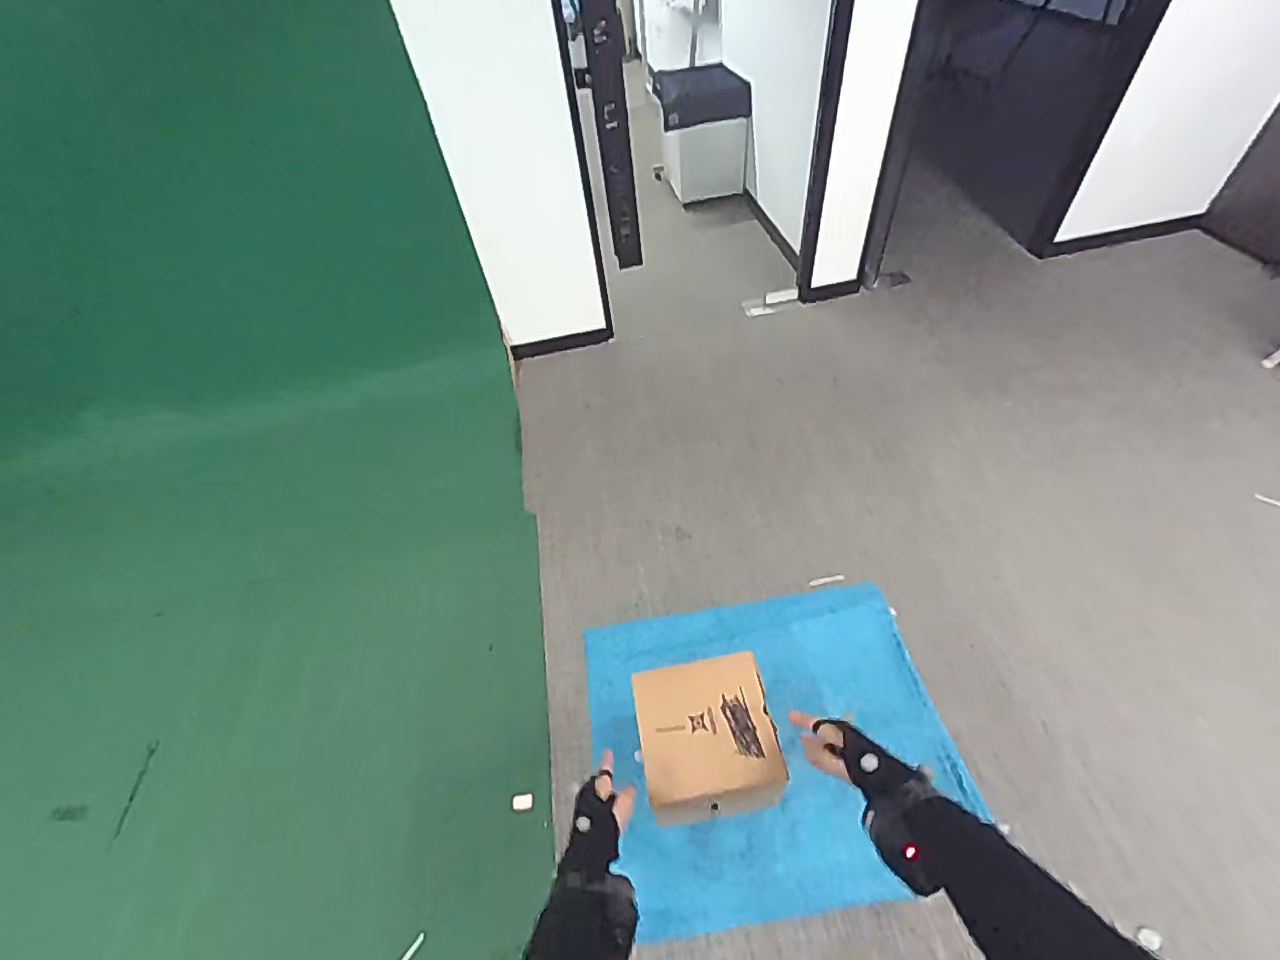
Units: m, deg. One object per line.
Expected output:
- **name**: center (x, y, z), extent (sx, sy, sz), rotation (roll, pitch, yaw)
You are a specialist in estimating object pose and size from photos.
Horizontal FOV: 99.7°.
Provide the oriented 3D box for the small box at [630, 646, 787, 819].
- **small box**: center (0.089, 0.356, 0.759), extent (0.179, 0.176, 0.168), rotation (-10, 49, -1)
